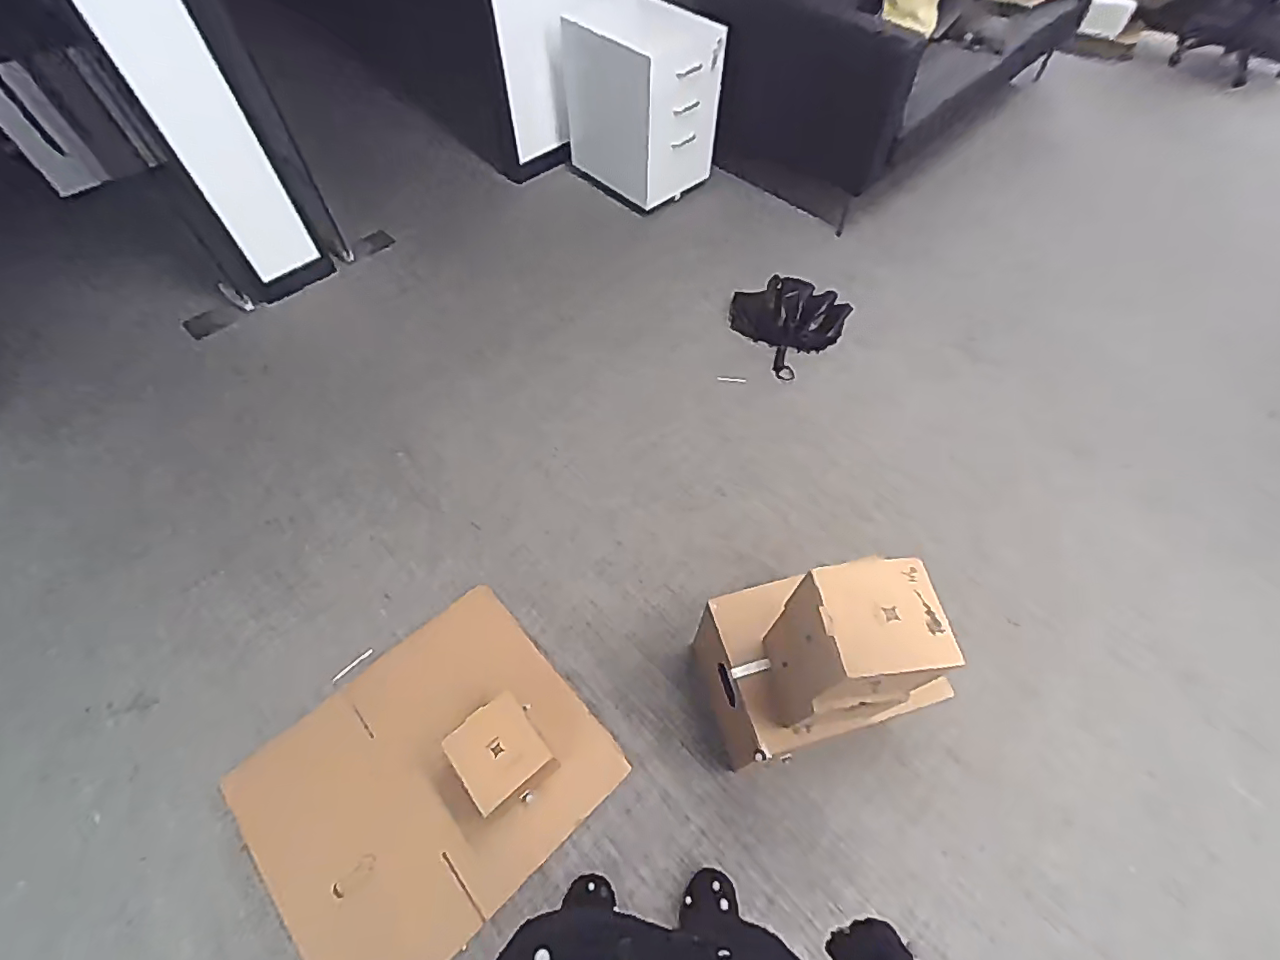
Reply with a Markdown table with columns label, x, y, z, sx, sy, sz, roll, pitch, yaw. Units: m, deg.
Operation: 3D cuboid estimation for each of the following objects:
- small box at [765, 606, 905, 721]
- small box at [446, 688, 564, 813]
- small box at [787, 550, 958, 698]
| label | x | y | z | sx | sy | sz | roll | pitch | yaw |
| --- | --- | --- | --- | --- | --- | --- | --- | --- | --- |
| small box | 0.340 | 0.329 | 0.983 | 0.168 | 0.176 | 0.179 | -7 | 58 | -5 |
| small box | -0.282 | 0.585 | 1.161 | 0.168 | 0.176 | 0.179 | -37 | 65 | -20 |
| small box | 0.347 | 0.232 | 0.854 | 0.179 | 0.176 | 0.168 | -8 | 56 | -7 |
